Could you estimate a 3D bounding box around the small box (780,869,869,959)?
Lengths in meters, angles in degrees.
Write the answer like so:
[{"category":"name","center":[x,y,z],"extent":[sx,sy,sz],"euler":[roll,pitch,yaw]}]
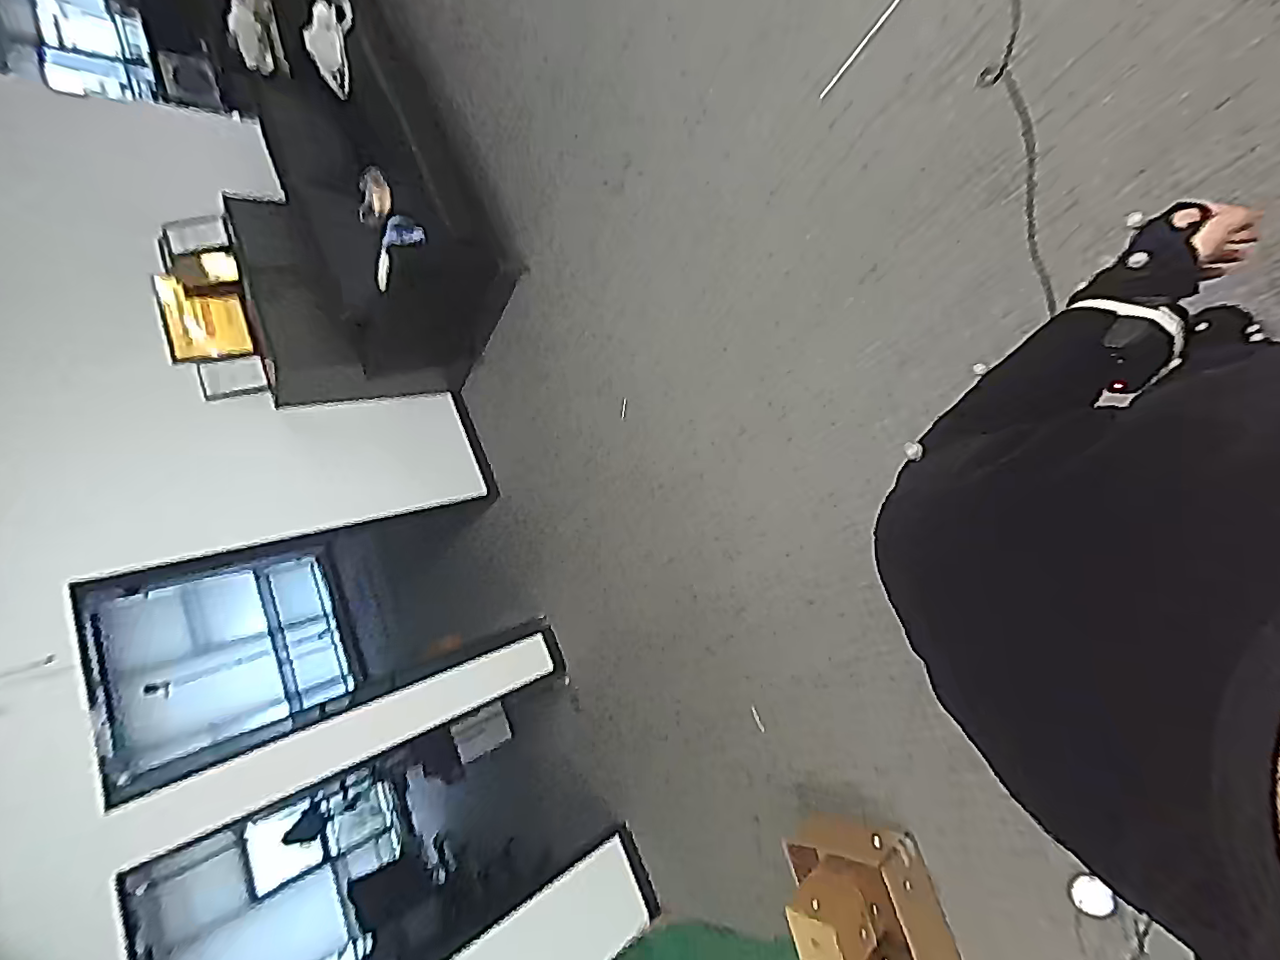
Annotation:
[{"category":"small box","center":[0.568,1.349,1.665],"extent":[0.179,0.176,0.168],"euler":[-19,86,48]}]
